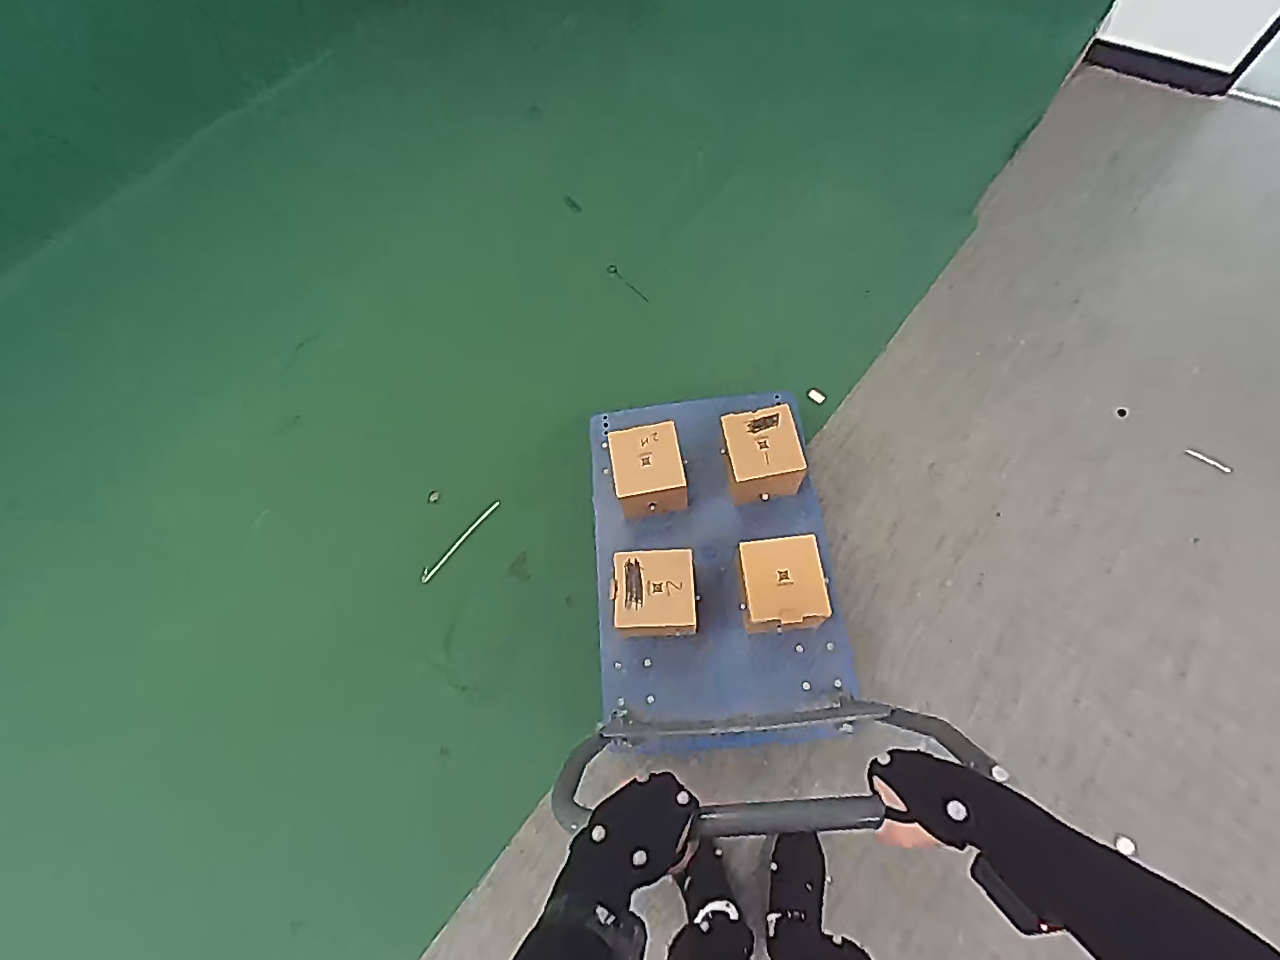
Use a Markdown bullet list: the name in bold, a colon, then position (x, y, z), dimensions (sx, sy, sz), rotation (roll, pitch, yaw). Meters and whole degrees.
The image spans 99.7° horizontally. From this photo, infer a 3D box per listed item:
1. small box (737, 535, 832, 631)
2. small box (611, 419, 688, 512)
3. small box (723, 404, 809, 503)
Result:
- **small box**: position (0.315, 0.234, 1.213), dimensions (0.168, 0.176, 0.179), rotation (-6, 69, 4)
- **small box**: position (0.027, -0.027, 1.345), dimensions (0.168, 0.176, 0.179), rotation (-9, 68, 2)
- **small box**: position (0.301, -0.061, 1.330), dimensions (0.168, 0.176, 0.179), rotation (-10, 69, 3)
